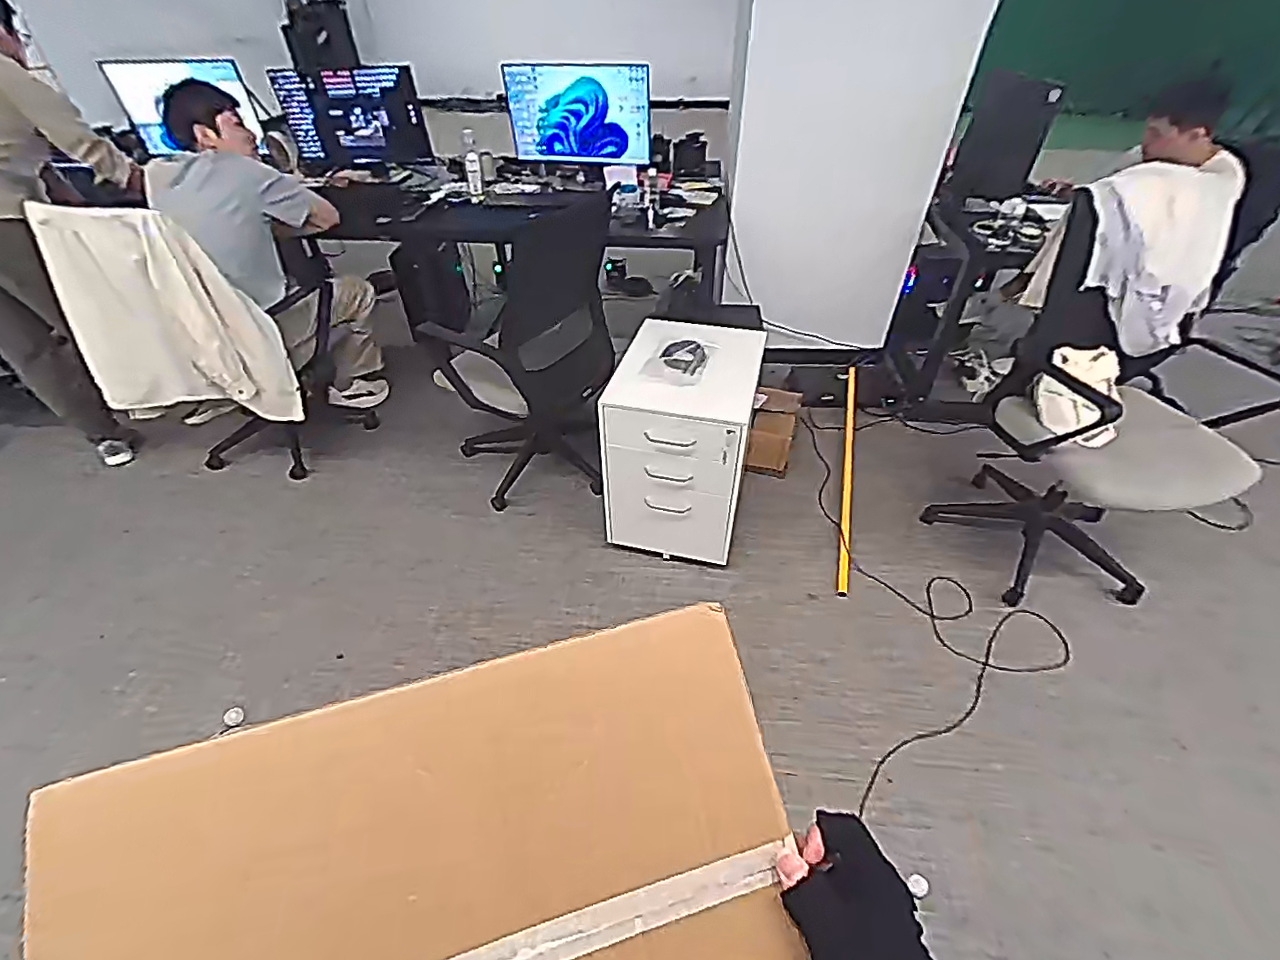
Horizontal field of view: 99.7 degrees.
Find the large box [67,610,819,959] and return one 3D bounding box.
[{"bbox_3d":[-0.114,0.323,0.445,0.408,0.320,0.320,-13,75,-10],"label":"large box"}]
